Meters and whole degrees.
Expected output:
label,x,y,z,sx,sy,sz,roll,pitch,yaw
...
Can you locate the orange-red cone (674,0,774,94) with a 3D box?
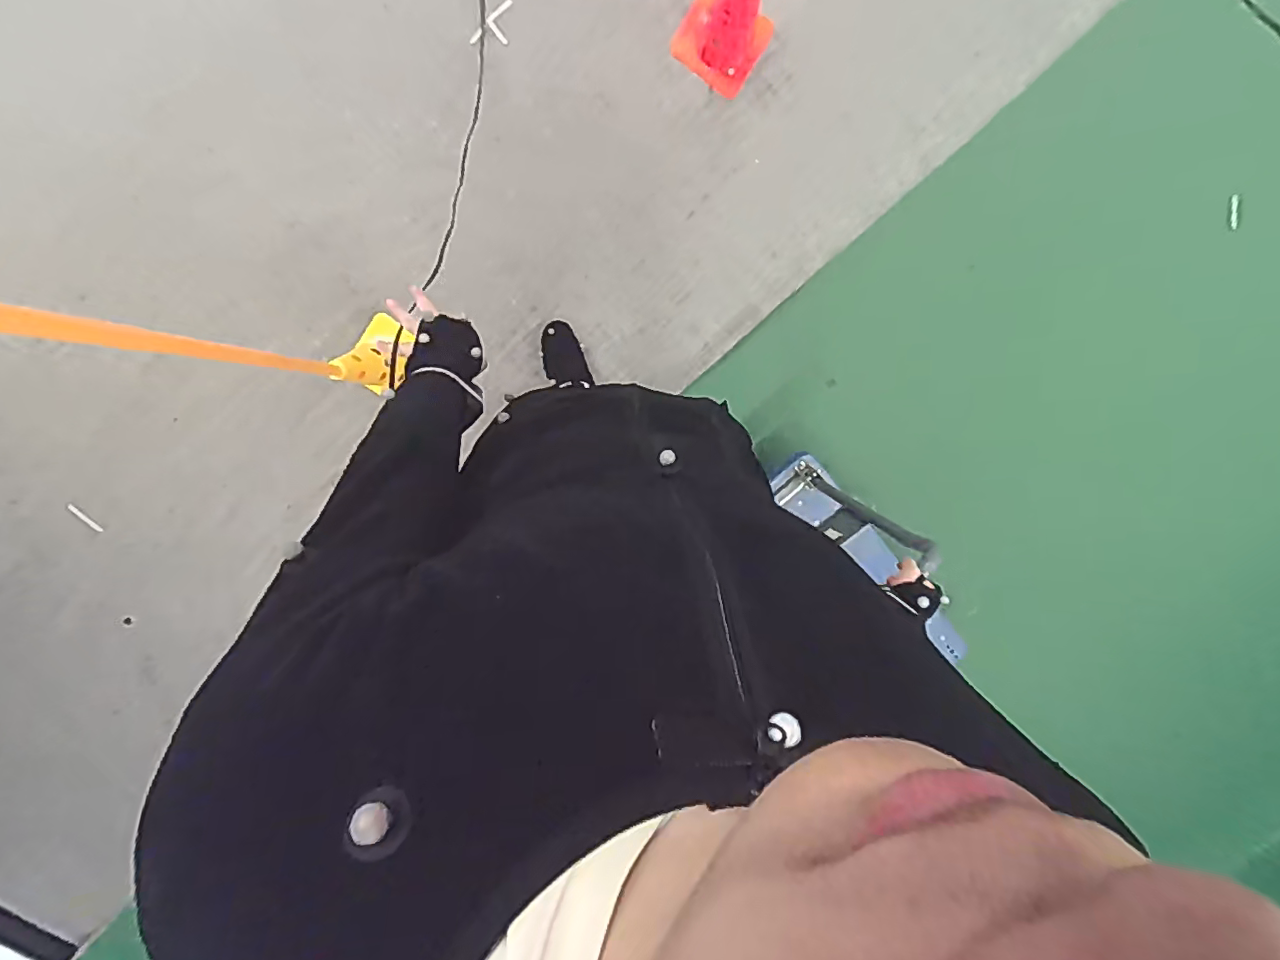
label,x,y,z,sx,sy,sz,roll,pitch,yaw
orange-red cone,0.224,-1.055,1.170,0.198,0.360,0.199,32,99,-13
